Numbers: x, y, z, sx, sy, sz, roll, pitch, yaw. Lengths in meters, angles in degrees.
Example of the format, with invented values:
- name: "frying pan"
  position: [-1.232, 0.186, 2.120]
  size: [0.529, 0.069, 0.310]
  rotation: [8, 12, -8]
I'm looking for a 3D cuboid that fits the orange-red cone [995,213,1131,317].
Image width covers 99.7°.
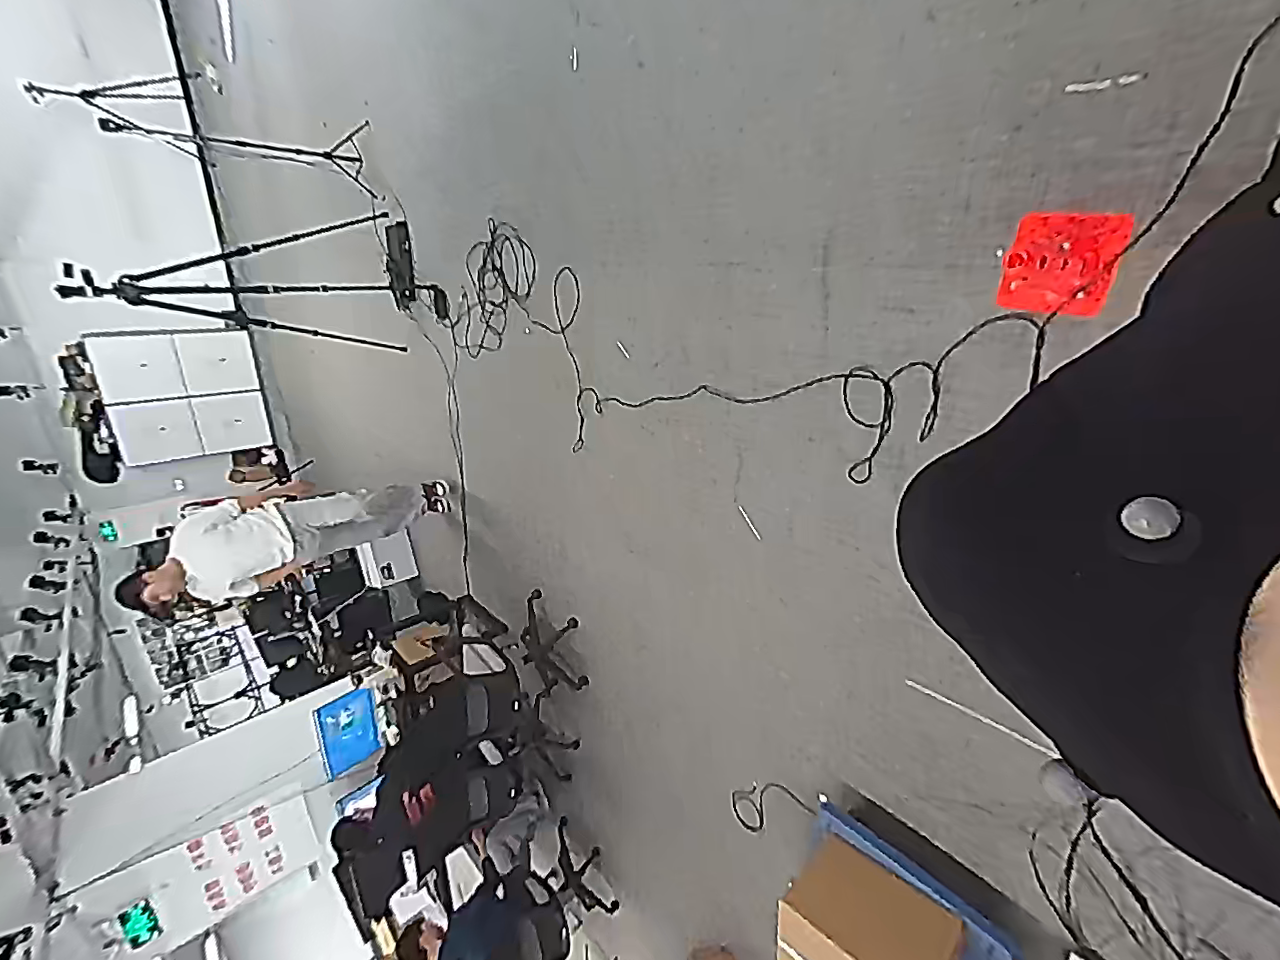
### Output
- name: "orange-red cone"
  position: [0.778, -0.427, 1.050]
  size: [0.198, 0.360, 0.199]
  rotation: [26, 121, 39]
